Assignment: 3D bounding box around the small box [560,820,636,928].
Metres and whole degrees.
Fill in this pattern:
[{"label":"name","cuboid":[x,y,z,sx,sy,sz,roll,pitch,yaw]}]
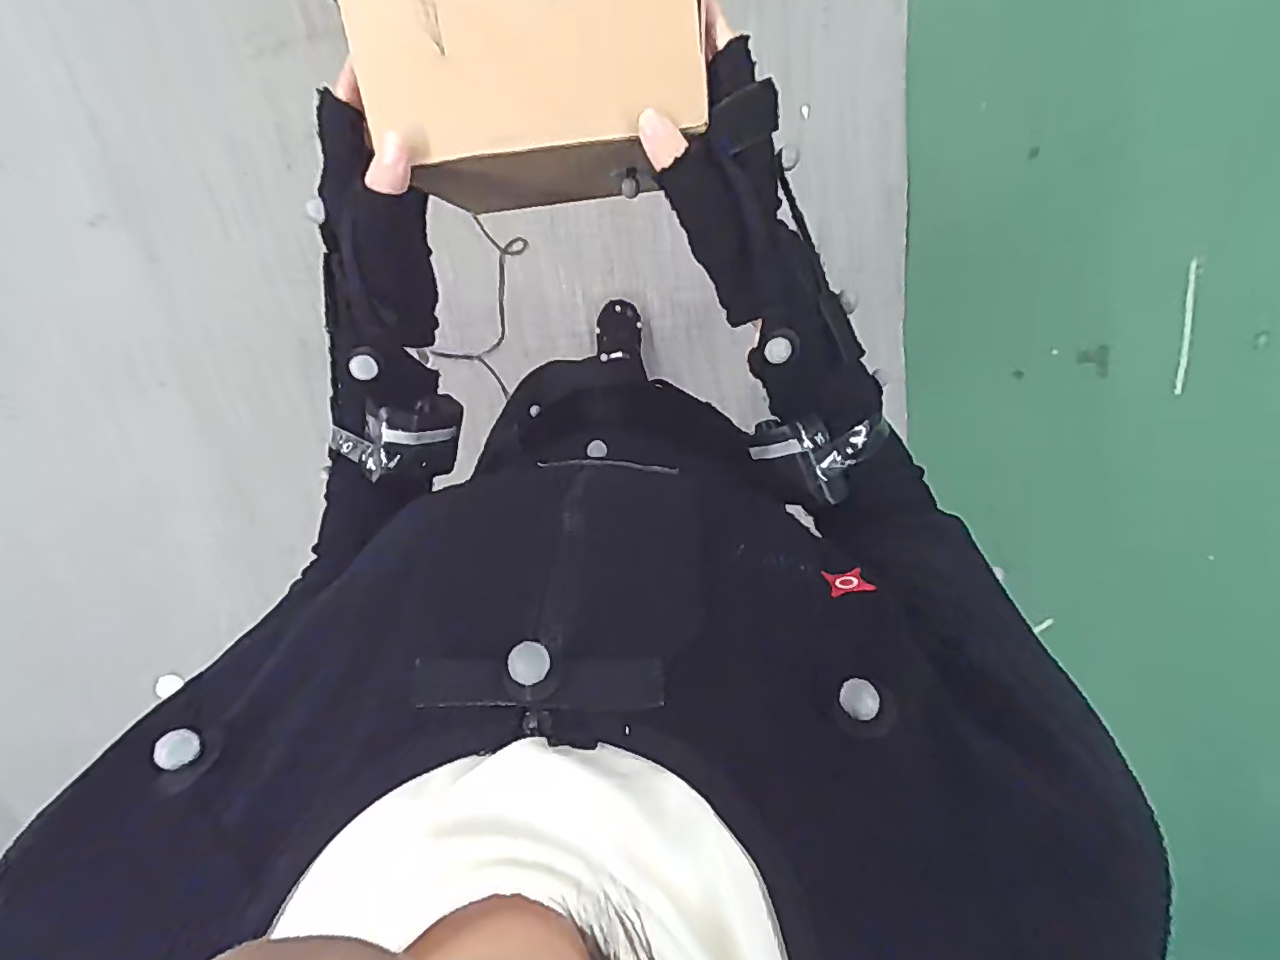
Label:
[{"label":"small box","cuboid":[-0.106,1.028,1.423,0.179,0.176,0.168,-2,103,3]}]
